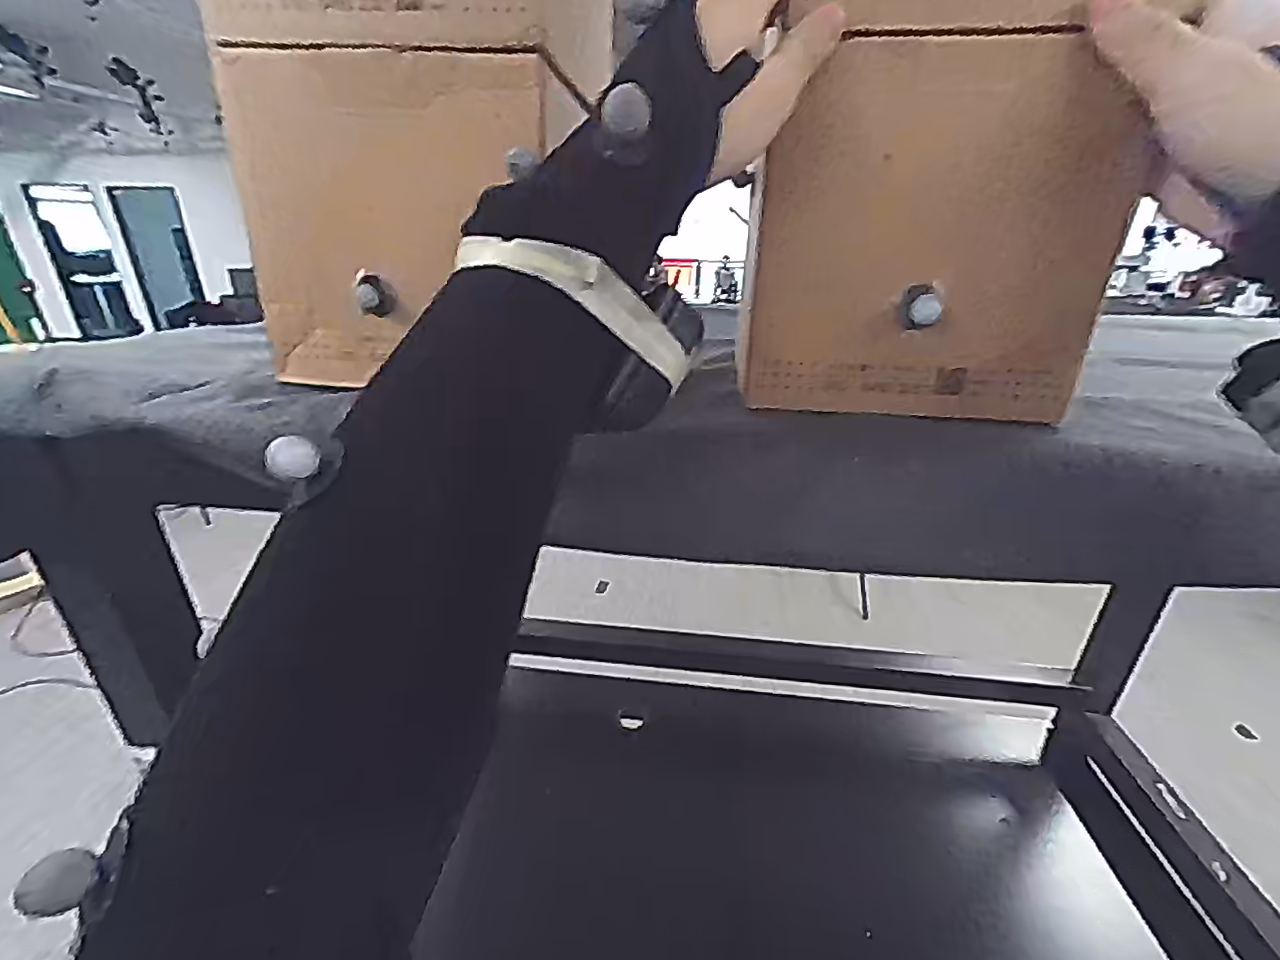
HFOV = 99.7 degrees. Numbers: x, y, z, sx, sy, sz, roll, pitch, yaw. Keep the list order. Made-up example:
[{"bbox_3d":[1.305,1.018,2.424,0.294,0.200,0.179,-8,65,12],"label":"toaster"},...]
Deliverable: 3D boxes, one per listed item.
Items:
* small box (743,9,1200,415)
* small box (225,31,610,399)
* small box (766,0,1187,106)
[{"bbox_3d":[0.154,-0.146,0.332,0.168,0.176,0.179,3,22,8],"label":"small box"},{"bbox_3d":[-0.116,-0.160,0.359,0.168,0.176,0.179,5,23,4],"label":"small box"},{"bbox_3d":[0.159,-0.299,0.270,0.168,0.176,0.179,5,23,7],"label":"small box"}]
